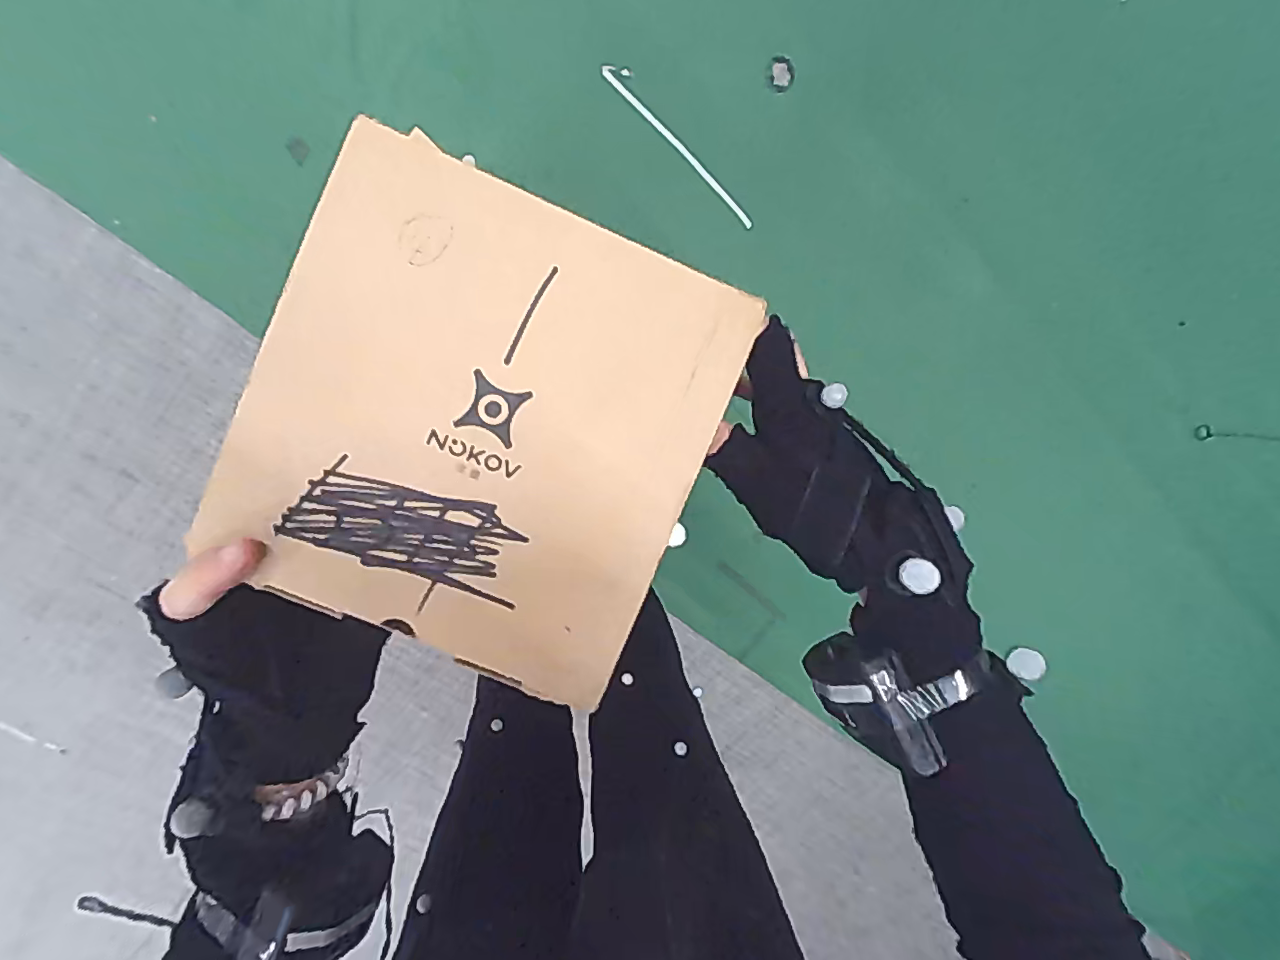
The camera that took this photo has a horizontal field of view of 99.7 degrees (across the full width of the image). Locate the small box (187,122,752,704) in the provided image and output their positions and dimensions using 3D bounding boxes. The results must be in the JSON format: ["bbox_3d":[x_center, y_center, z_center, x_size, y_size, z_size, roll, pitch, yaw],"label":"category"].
[{"bbox_3d":[-0.068,-0.025,0.285,0.168,0.176,0.179,23,91,-6],"label":"small box"}]
